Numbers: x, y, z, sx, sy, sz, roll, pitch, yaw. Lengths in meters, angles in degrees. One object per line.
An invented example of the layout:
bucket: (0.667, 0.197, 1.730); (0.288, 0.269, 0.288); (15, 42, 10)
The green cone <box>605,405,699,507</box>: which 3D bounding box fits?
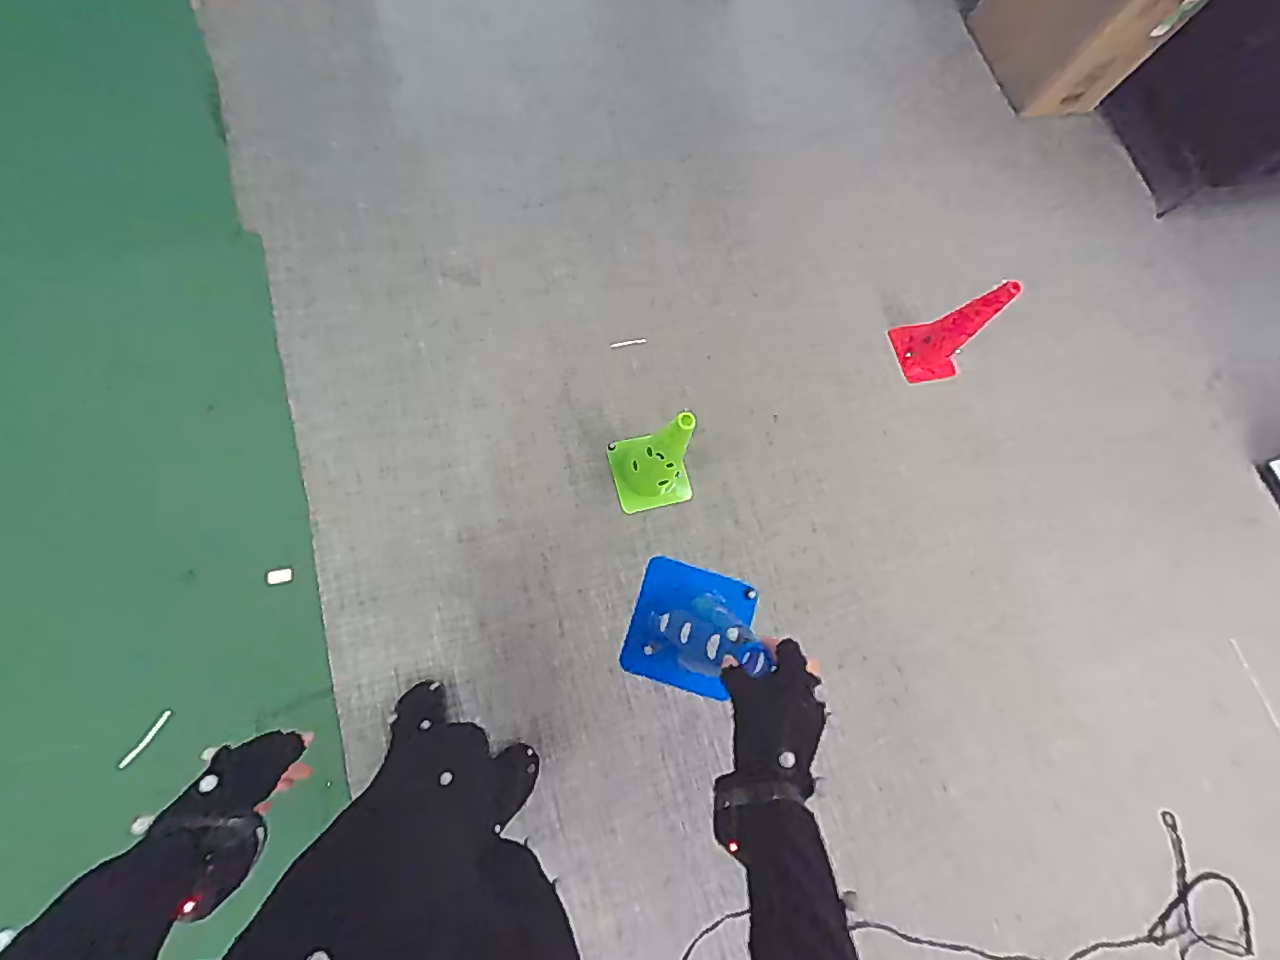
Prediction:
green cone: (0.060, -0.082, 1.277); (0.202, 0.368, 0.200); (-14, 78, -16)
